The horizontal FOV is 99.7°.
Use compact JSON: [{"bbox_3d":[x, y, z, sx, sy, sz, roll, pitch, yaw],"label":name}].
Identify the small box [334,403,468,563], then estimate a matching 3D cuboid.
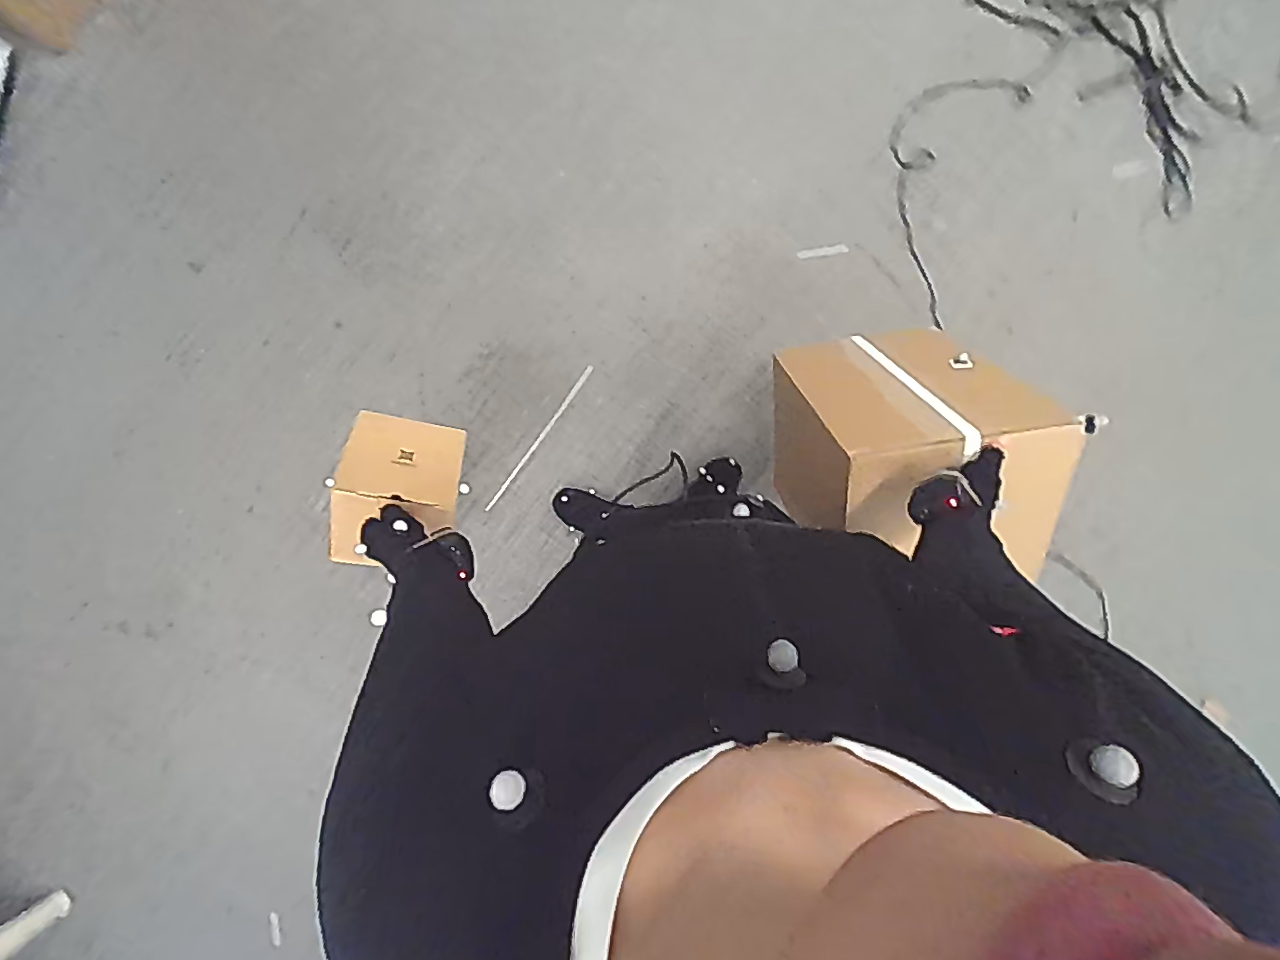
[{"bbox_3d":[-0.386,0.008,0.876,0.168,0.179,0.176,11,132,-21],"label":"small box"}]
